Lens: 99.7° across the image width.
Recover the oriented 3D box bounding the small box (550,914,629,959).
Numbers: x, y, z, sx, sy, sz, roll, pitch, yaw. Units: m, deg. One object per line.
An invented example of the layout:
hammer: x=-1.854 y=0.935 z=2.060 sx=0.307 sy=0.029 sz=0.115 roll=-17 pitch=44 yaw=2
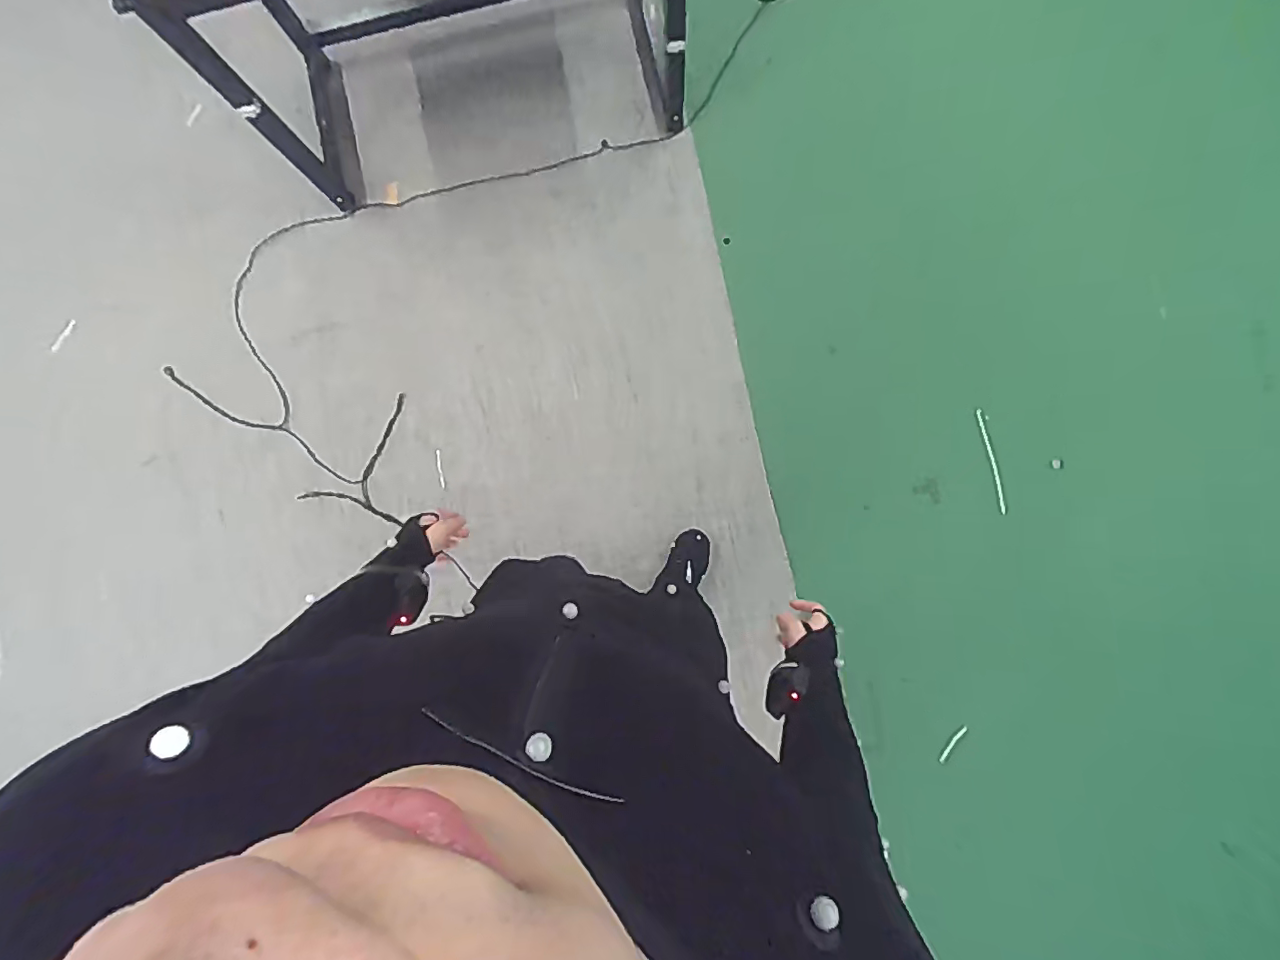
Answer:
small box: x=-0.113 y=1.165 z=1.260 sx=0.168 sy=0.176 sz=0.179 roll=-6 pitch=85 yaw=2
